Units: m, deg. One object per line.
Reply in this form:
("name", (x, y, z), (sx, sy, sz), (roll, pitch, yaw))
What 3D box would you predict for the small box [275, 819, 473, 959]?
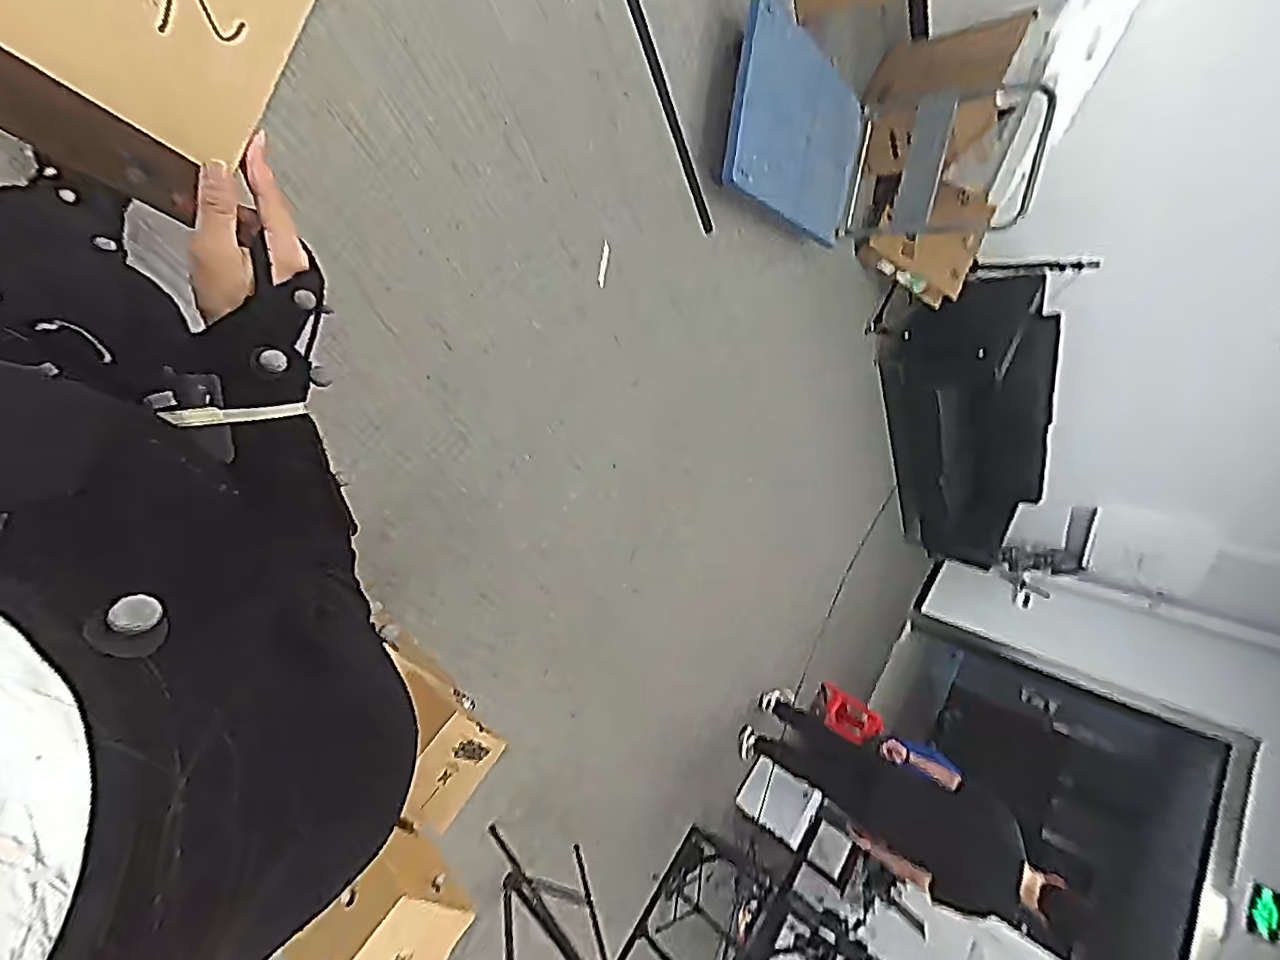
("small box", (-0.394, 0.646, 0.802), (0.168, 0.176, 0.179), (-50, 134, -22))
